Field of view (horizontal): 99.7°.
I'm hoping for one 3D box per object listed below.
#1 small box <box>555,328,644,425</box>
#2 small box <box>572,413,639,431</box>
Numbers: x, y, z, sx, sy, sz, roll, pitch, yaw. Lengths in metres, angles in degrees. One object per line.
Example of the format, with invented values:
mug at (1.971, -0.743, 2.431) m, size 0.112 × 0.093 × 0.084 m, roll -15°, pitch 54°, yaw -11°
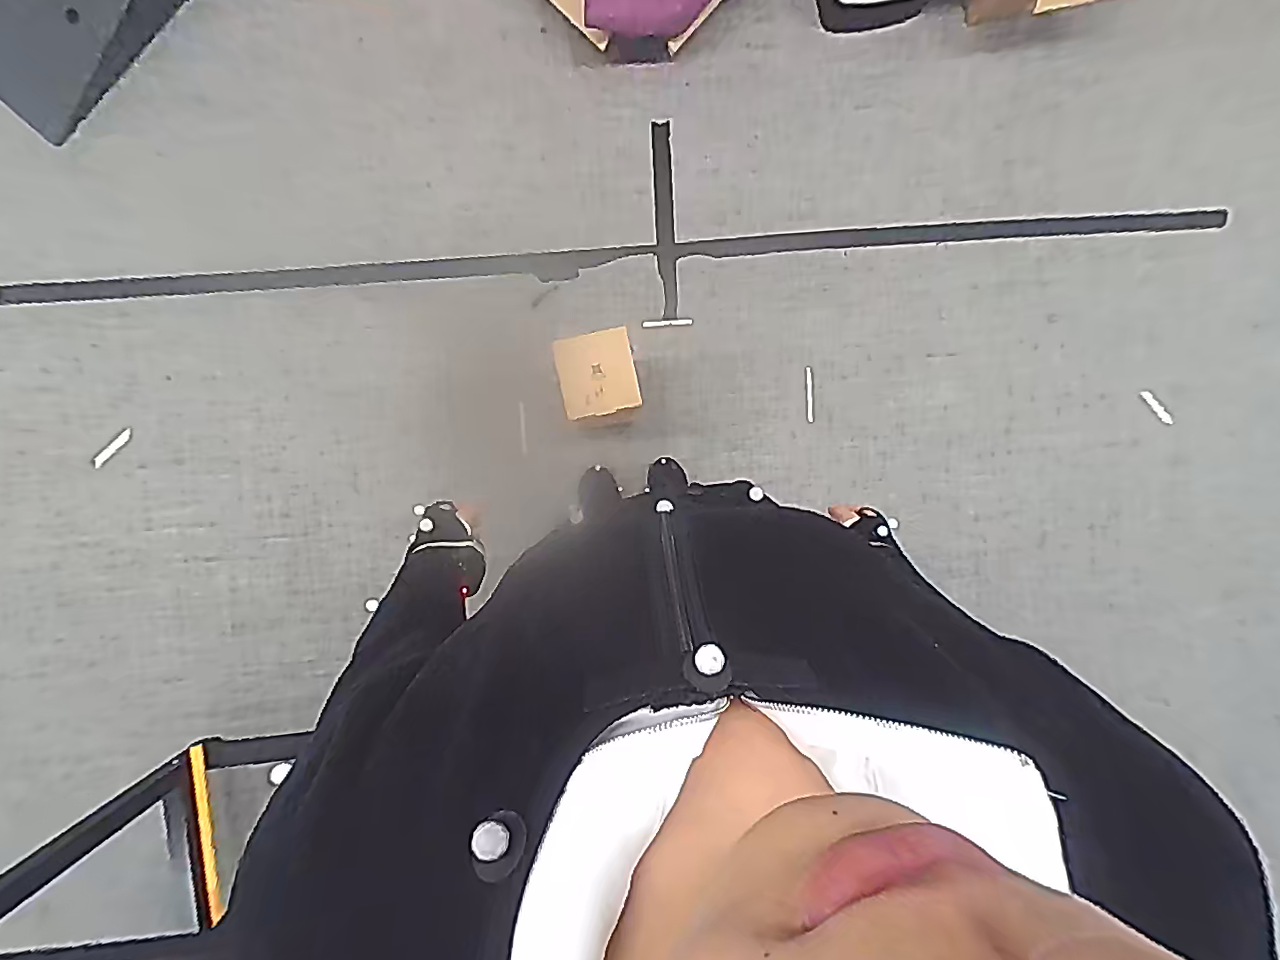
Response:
small box at (-0.089, -0.230, 1.238) m, size 0.168 × 0.176 × 0.179 m, roll -12°, pitch 93°, yaw 0°
small box at (-0.096, -0.225, 1.404) m, size 0.168 × 0.176 × 0.179 m, roll -7°, pitch 94°, yaw 0°
